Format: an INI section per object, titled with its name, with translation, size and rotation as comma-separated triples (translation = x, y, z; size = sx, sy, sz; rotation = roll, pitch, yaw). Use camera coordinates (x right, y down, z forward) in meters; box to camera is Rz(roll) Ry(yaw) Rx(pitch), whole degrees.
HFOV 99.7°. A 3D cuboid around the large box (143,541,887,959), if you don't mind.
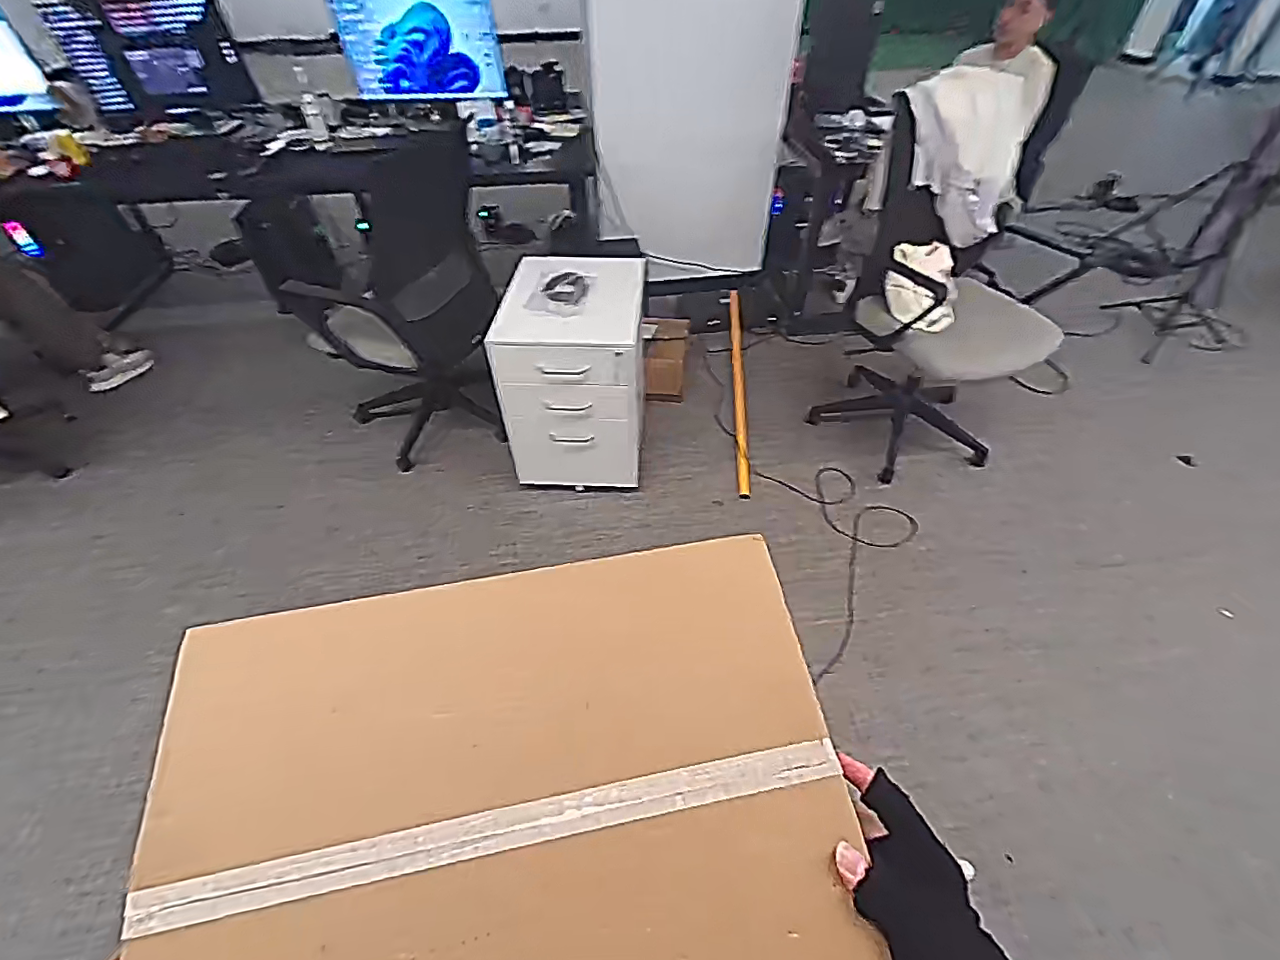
[large box]
translation = -0.082, 0.283, 0.455
size = 0.408, 0.320, 0.320
rotation = -9, 62, -6
